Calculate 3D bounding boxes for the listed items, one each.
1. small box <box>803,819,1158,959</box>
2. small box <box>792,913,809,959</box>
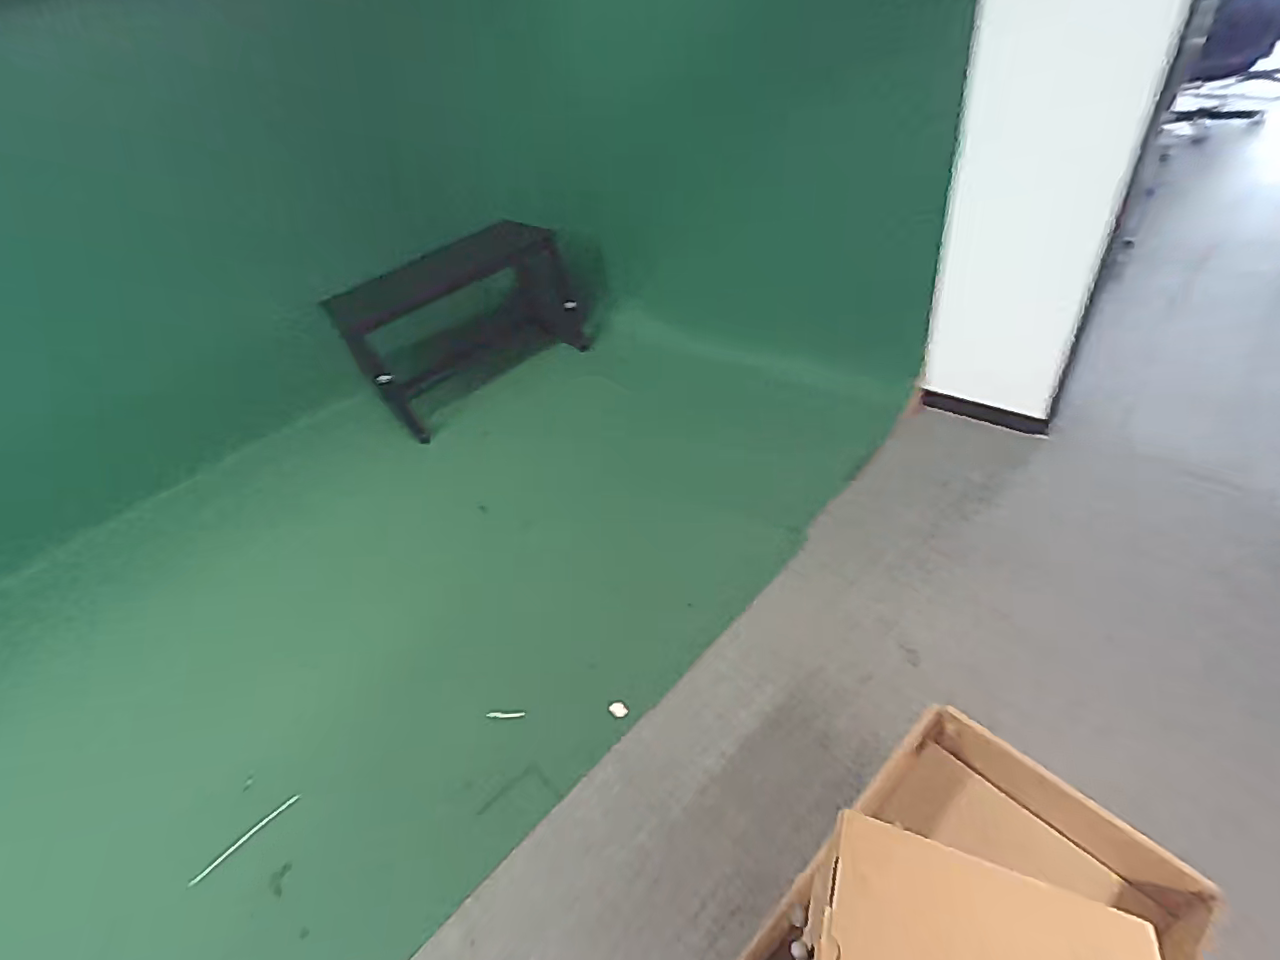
[{"bbox_3d":[0.195,0.358,0.342,0.179,0.176,0.168,10,44,21],"label":"small box"},{"bbox_3d":[0.239,0.597,0.560,0.179,0.176,0.168,10,43,22],"label":"small box"}]
